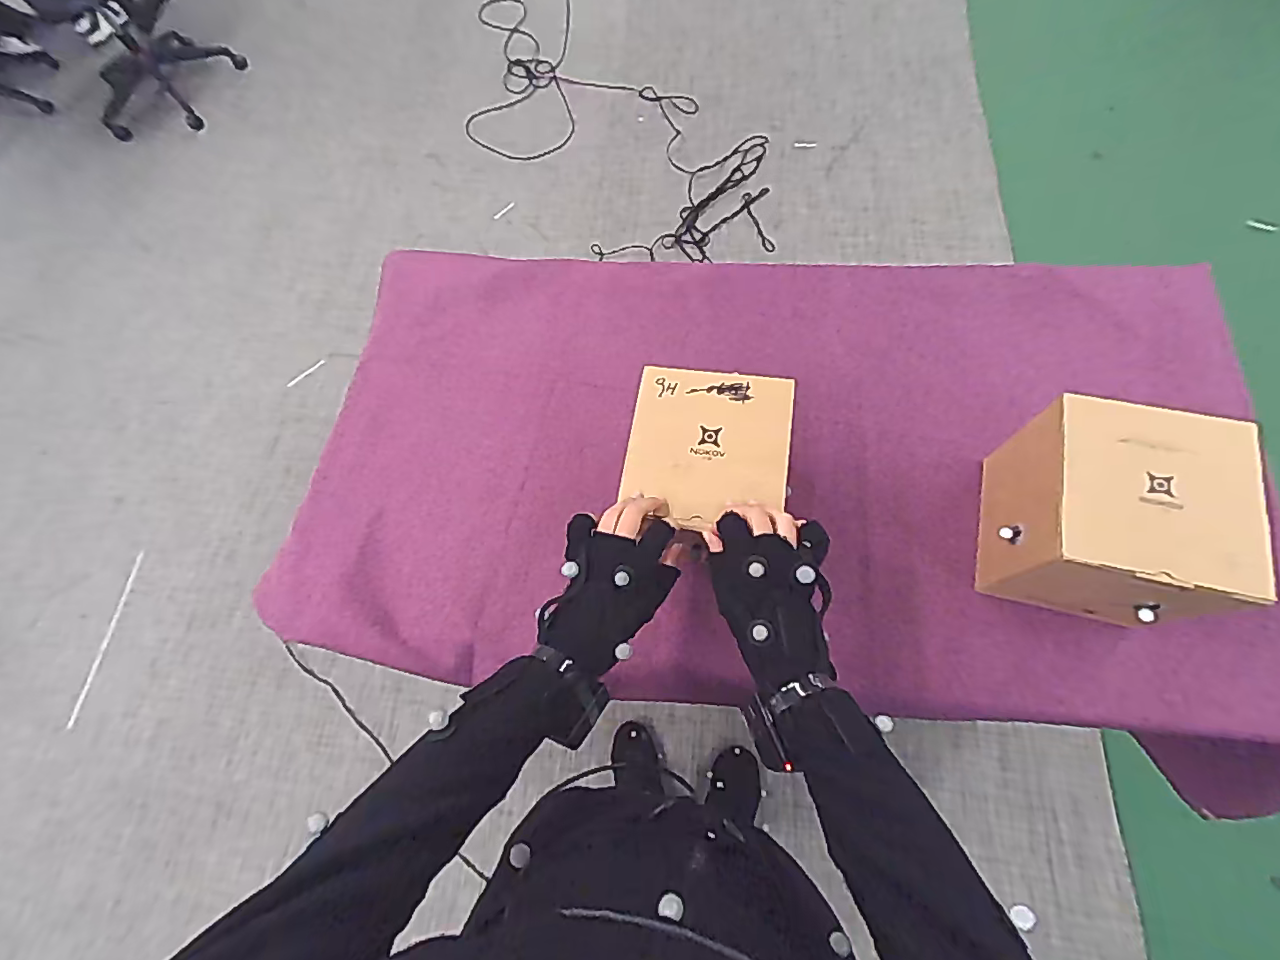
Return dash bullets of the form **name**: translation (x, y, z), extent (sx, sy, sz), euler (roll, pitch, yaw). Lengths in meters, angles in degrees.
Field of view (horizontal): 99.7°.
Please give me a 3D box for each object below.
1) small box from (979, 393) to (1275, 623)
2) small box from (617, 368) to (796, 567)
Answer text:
- **small box**: translation (0.481, 0.039, 0.565), extent (0.168, 0.176, 0.179), euler (13, 70, 12)
- **small box**: translation (0.079, -0.006, 0.631), extent (0.168, 0.176, 0.179), euler (8, 70, 9)
